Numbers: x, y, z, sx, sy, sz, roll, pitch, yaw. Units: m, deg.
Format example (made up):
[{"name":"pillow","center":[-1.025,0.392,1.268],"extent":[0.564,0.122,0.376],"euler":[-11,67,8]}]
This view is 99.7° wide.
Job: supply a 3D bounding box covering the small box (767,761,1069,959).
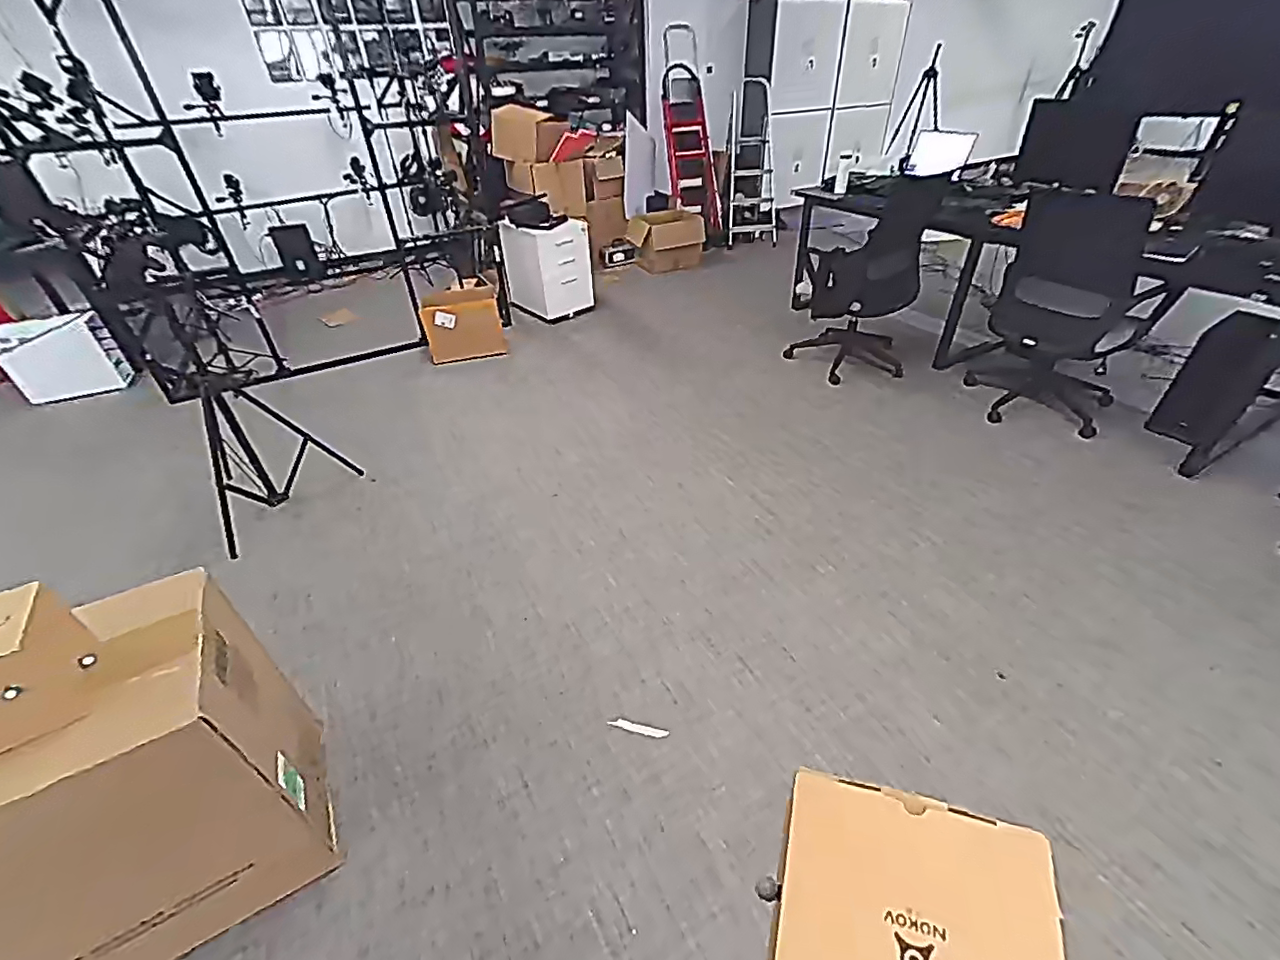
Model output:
[{"name":"small box","center":[0.181,0.336,0.389],"extent":[0.168,0.176,0.179],"euler":[7,51,18]}]
